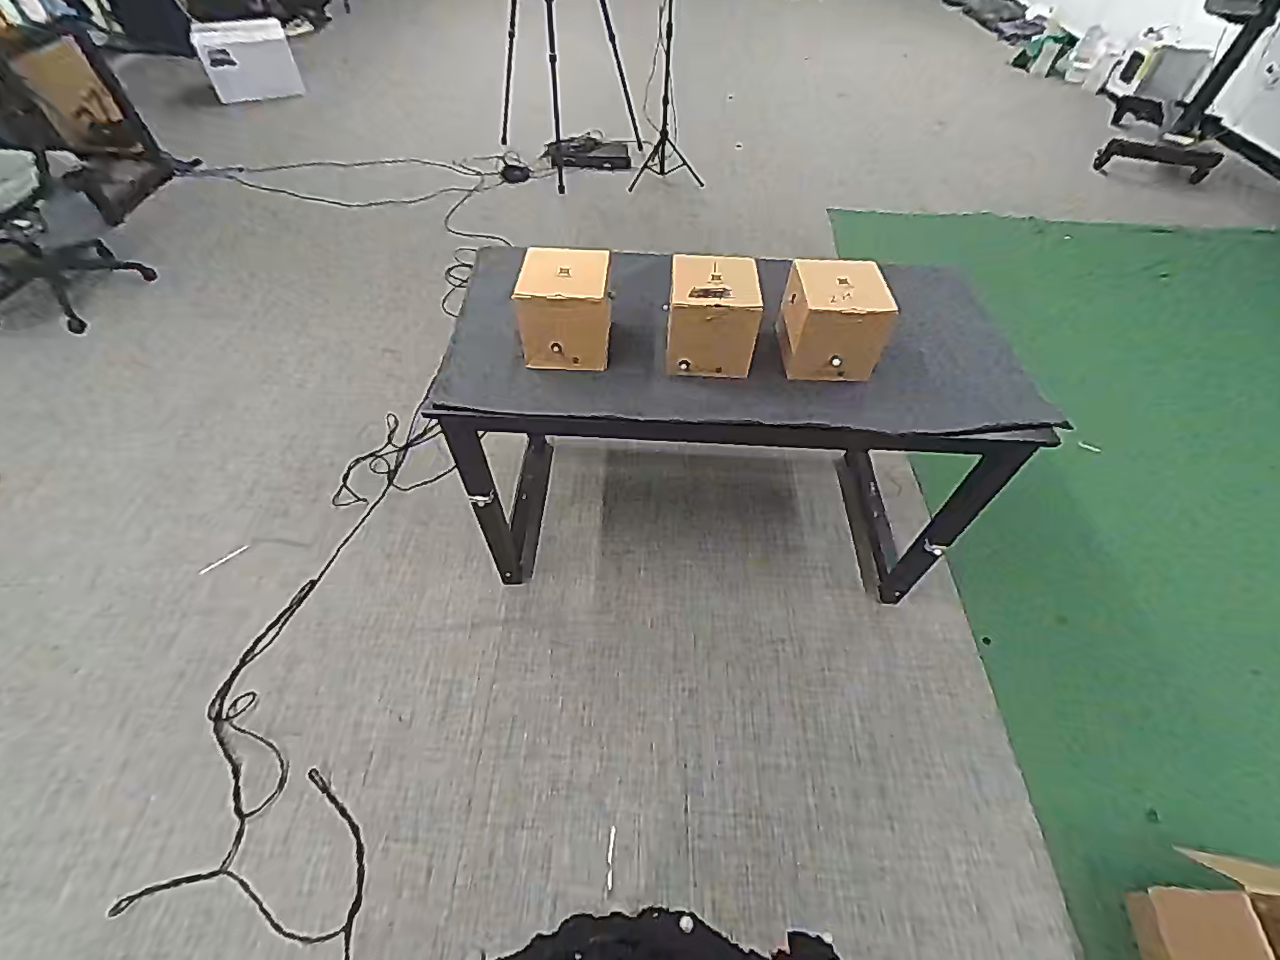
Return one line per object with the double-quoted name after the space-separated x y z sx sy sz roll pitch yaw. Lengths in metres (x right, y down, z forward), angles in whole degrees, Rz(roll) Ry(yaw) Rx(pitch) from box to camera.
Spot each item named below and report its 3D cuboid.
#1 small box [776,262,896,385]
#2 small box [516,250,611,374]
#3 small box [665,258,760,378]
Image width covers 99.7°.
0.383 -0.316 1.094 0.168 0.176 0.179 1 52 0 "small box"
-0.147 -0.339 1.093 0.168 0.176 0.179 2 51 -1 "small box"
0.140 -0.323 1.092 0.168 0.176 0.179 3 51 0 "small box"
